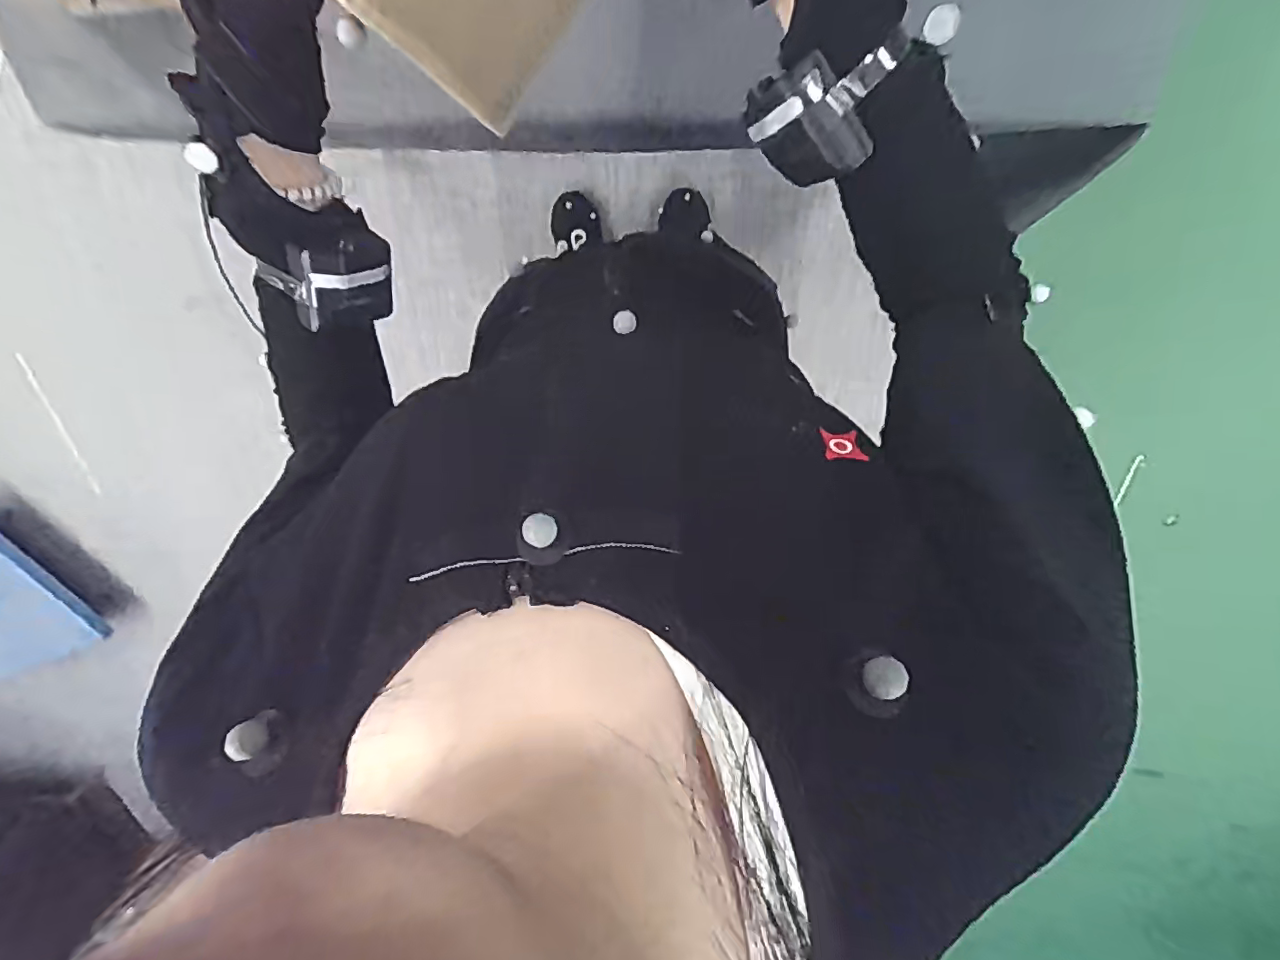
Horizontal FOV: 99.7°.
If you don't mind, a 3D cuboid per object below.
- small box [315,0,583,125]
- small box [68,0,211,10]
[{"bbox_3d":[-0.103,-0.297,0.226,0.168,0.176,0.179,38,108,-8],"label":"small box"},{"bbox_3d":[-0.511,-0.524,0.442,0.168,0.176,0.179,0,119,4],"label":"small box"}]
